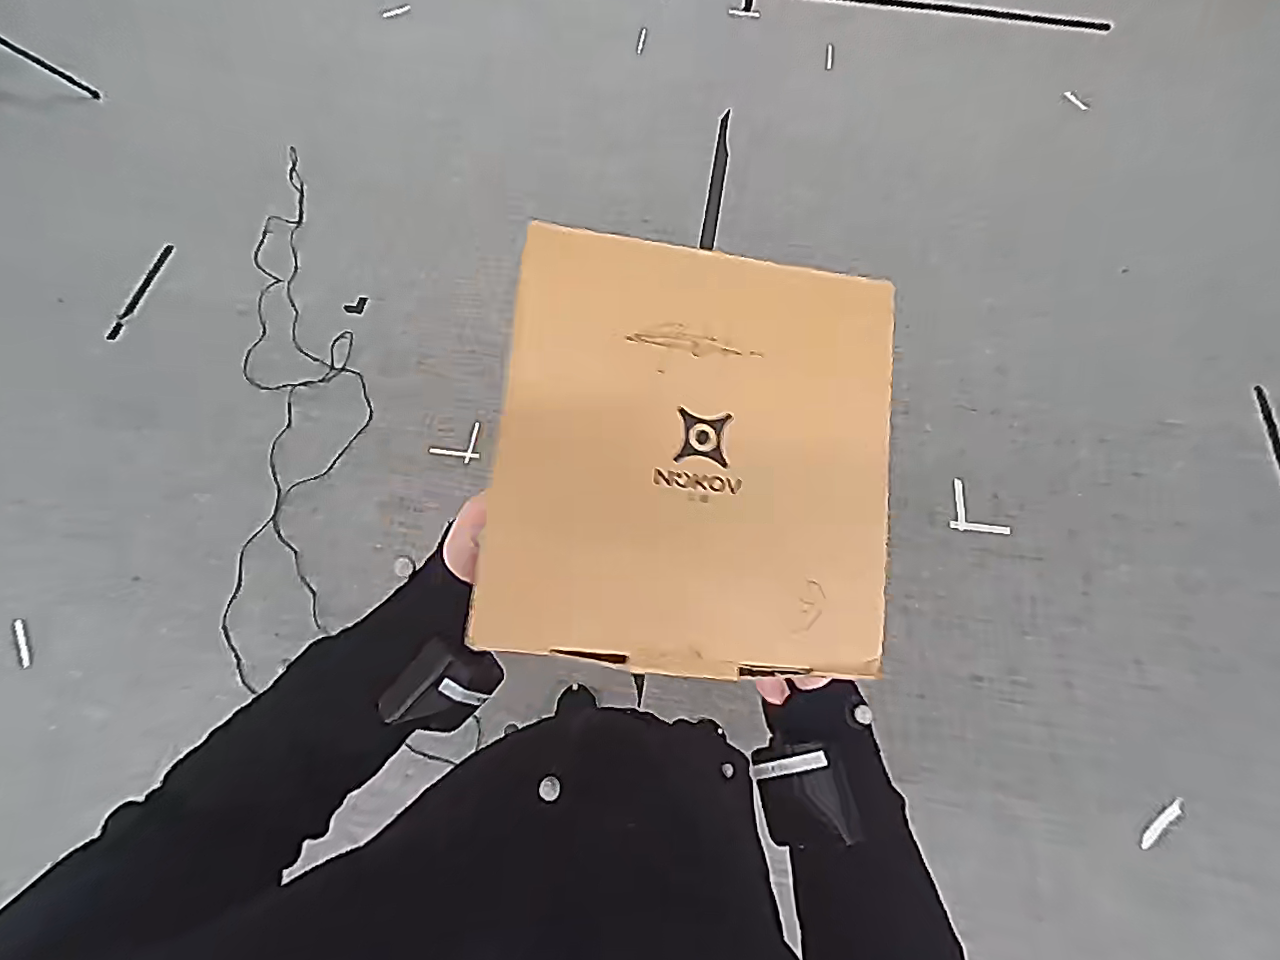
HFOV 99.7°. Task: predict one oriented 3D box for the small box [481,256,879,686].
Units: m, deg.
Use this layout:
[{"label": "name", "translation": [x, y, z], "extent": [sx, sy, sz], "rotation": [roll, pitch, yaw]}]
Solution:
[{"label": "small box", "translation": [0.014, 0.006, 0.315], "extent": [0.168, 0.176, 0.179], "rotation": [7, 80, -8]}]
